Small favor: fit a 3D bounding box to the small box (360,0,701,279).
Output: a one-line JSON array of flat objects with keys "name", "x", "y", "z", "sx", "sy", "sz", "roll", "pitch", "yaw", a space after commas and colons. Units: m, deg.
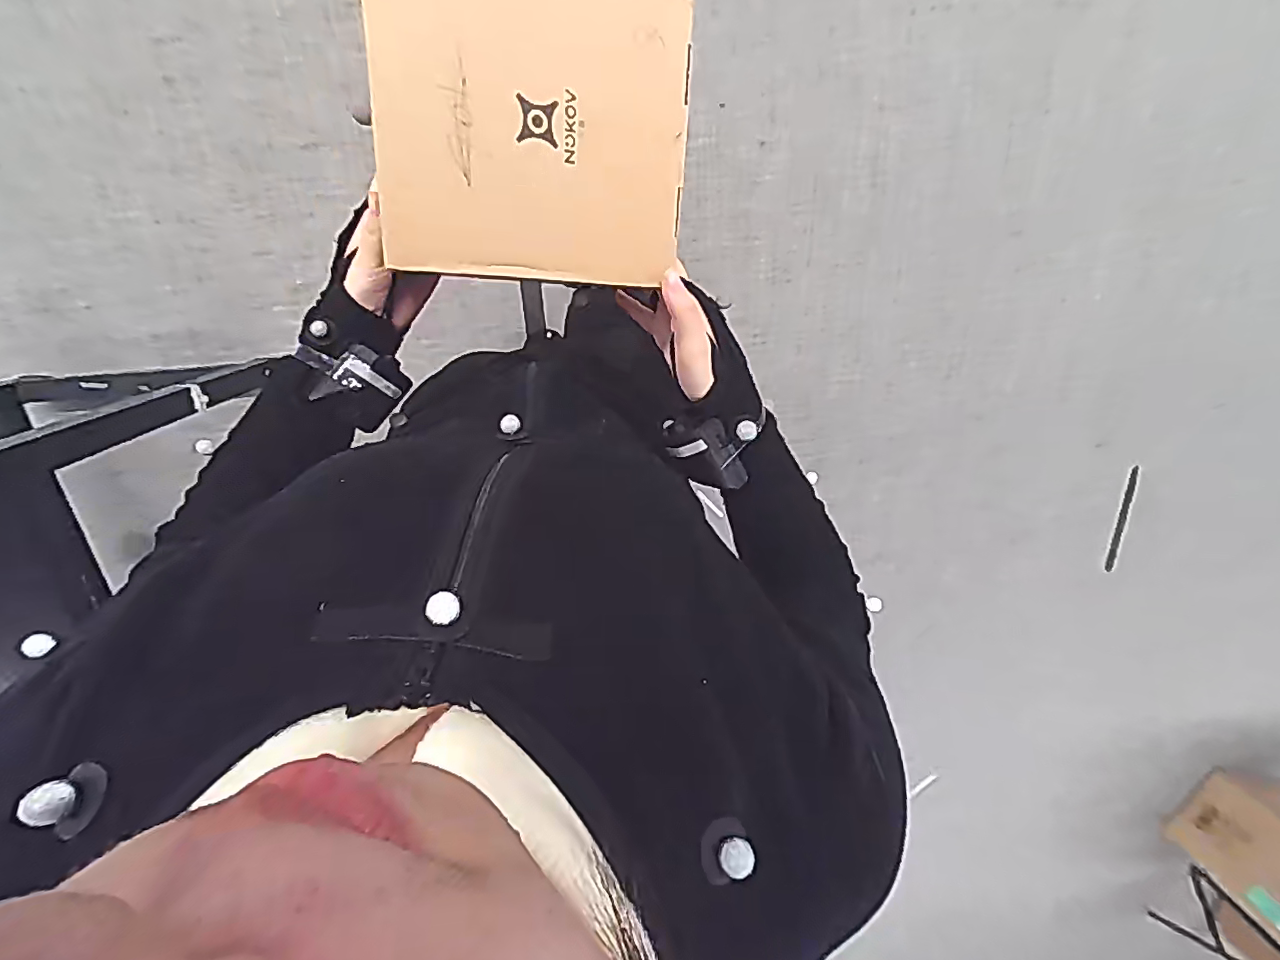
[{"name": "small box", "x": -0.080, "y": -0.227, "z": 0.358, "sx": 0.179, "sy": 0.176, "sz": 0.168, "roll": -4, "pitch": 110, "yaw": -21}]
